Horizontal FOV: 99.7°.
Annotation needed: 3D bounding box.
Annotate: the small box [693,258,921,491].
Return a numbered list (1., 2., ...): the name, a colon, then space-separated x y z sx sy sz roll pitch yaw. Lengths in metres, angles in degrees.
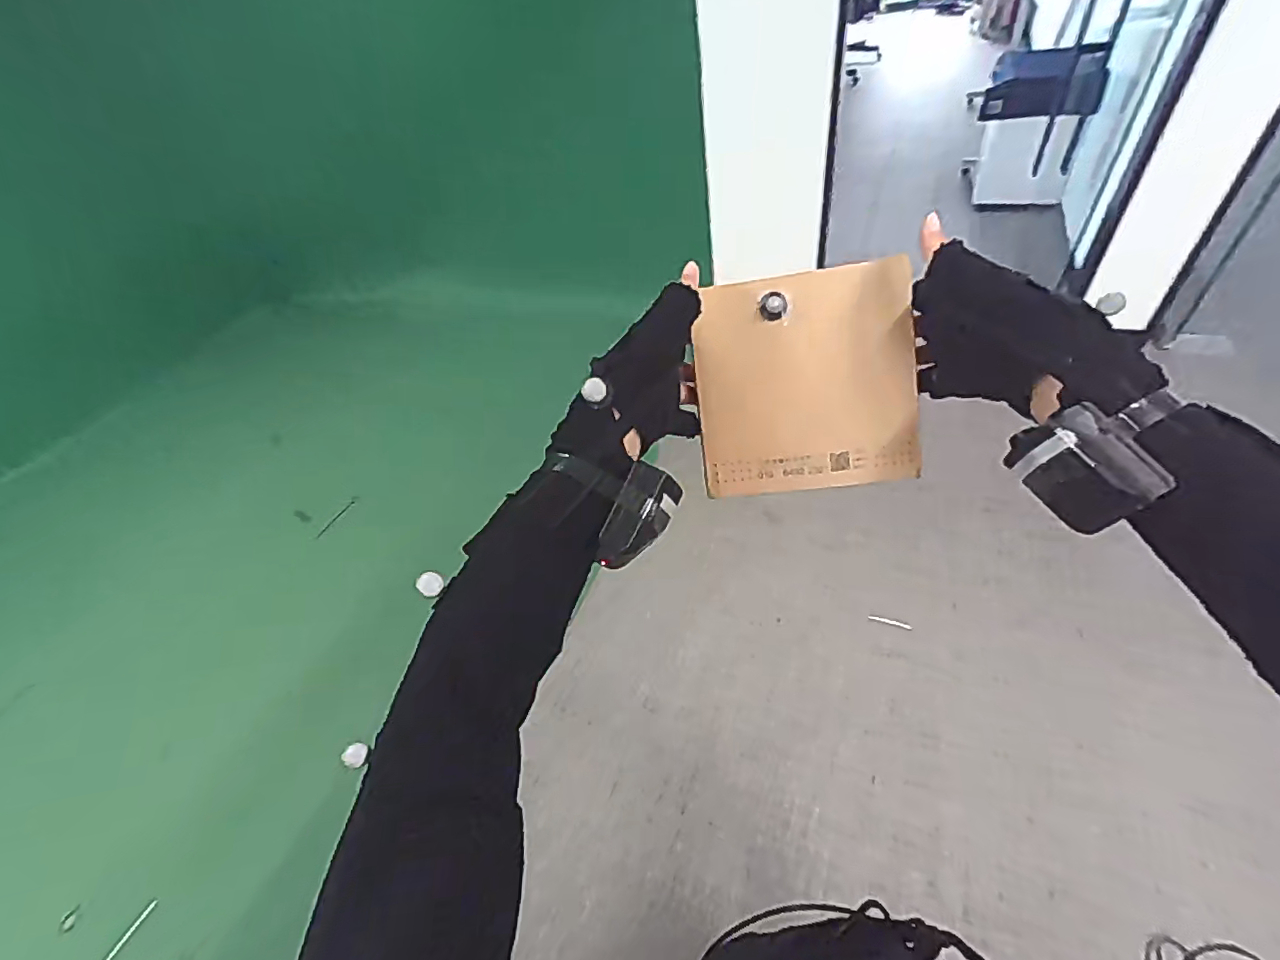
1. small box: 0.144 -0.085 0.502 0.168 0.176 0.179 -6 6 10
